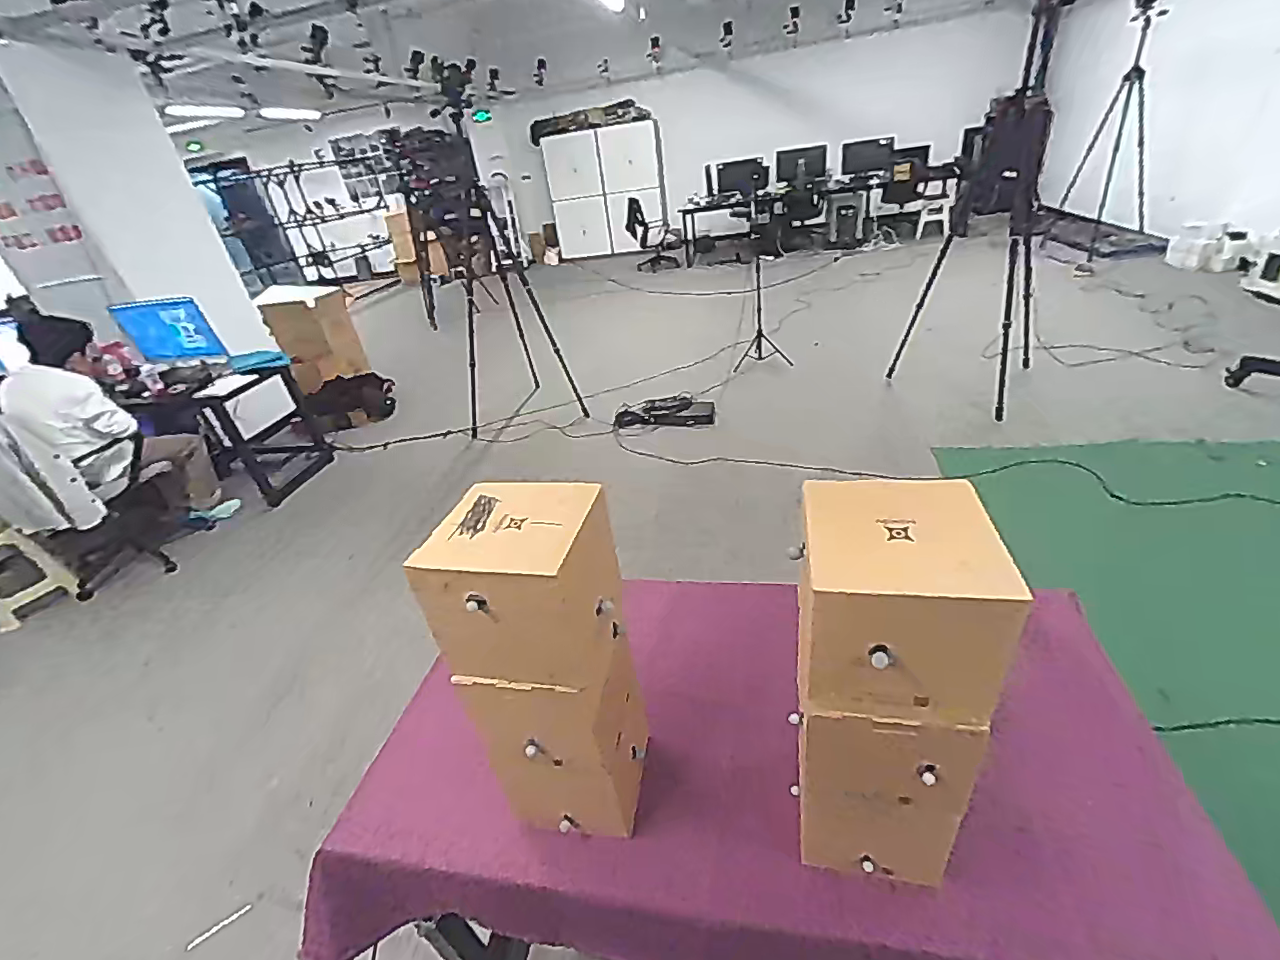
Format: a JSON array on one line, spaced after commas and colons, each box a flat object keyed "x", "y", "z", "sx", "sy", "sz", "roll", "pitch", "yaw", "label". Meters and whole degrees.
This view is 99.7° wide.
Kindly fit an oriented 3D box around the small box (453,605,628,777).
[{"x": -0.118, "y": 0.262, "z": 0.729, "sx": 0.168, "sy": 0.176, "sz": 0.179, "roll": -1, "pitch": 32, "yaw": 14, "label": "small box"}]

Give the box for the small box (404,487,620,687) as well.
[{"x": -0.135, "y": 0.122, "z": 0.643, "sx": 0.179, "sy": 0.176, "sz": 0.168, "roll": 1, "pitch": 33, "yaw": 14, "label": "small box"}]

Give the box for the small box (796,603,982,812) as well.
[{"x": 0.273, "y": 0.256, "z": 0.635, "sx": 0.168, "sy": 0.176, "sz": 0.179, "roll": -1, "pitch": 32, "yaw": 13, "label": "small box"}]

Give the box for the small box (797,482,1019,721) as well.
[{"x": 0.249, "y": 0.118, "z": 0.552, "sx": 0.168, "sy": 0.176, "sz": 0.179, "roll": -1, "pitch": 32, "yaw": 13, "label": "small box"}]

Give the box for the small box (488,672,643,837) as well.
[{"x": -0.096, "y": 0.404, "z": 0.810, "sx": 0.179, "sy": 0.176, "sz": 0.168, "roll": -1, "pitch": 32, "yaw": 12, "label": "small box"}]
